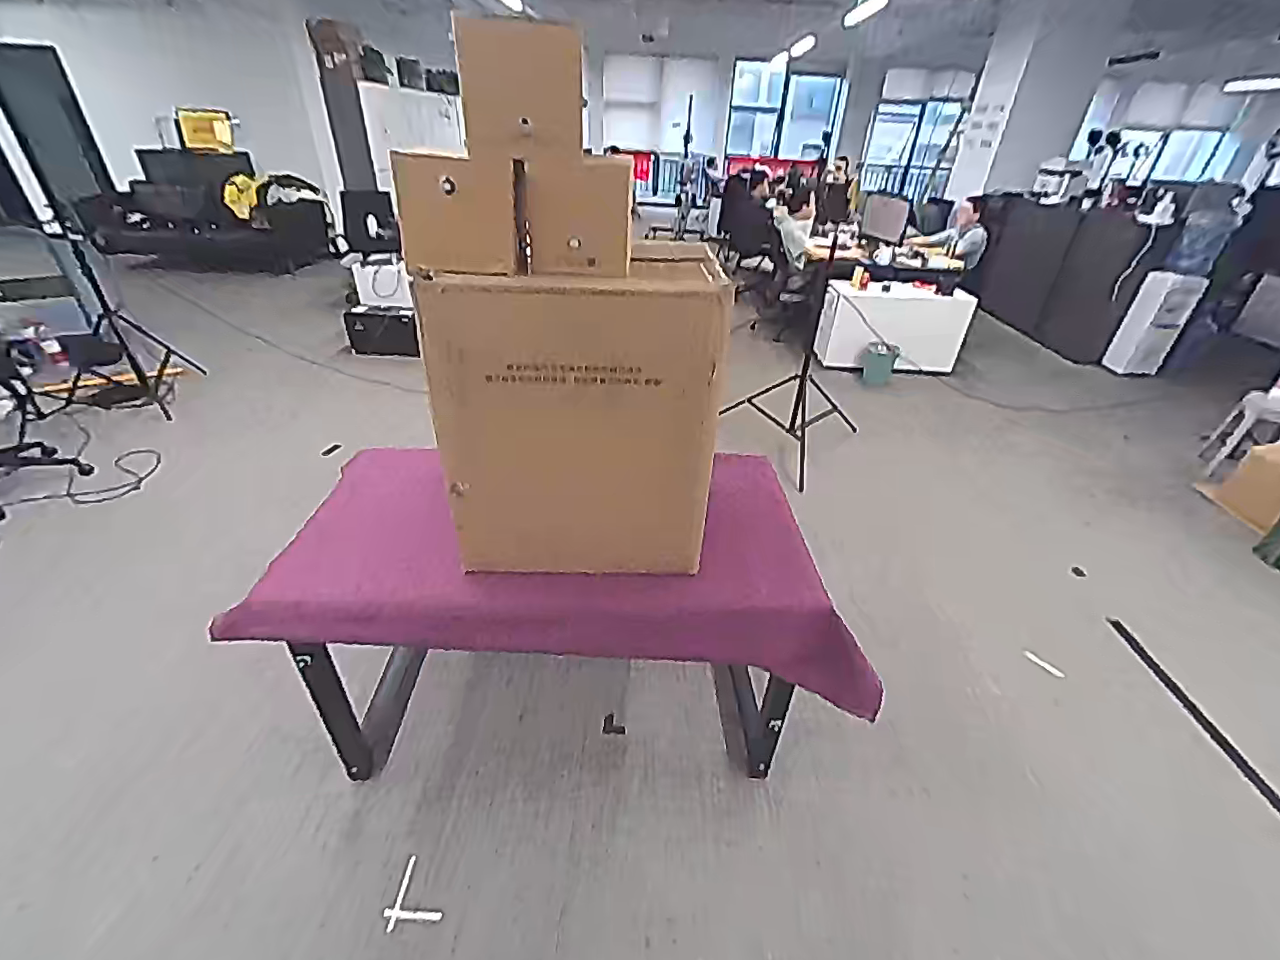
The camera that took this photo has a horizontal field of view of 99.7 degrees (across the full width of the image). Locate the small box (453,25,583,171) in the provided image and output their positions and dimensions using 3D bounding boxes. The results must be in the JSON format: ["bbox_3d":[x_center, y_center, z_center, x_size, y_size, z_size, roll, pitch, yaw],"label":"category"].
[{"bbox_3d":[-0.185,-0.589,0.847,0.179,0.176,0.168,-3,35,-11],"label":"small box"}]

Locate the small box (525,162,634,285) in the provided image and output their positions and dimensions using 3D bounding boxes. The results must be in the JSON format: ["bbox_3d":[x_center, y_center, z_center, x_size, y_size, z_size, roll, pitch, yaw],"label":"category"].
[{"bbox_3d":[-0.099,-0.453,0.945,0.168,0.176,0.179,2,35,0],"label":"small box"}]
